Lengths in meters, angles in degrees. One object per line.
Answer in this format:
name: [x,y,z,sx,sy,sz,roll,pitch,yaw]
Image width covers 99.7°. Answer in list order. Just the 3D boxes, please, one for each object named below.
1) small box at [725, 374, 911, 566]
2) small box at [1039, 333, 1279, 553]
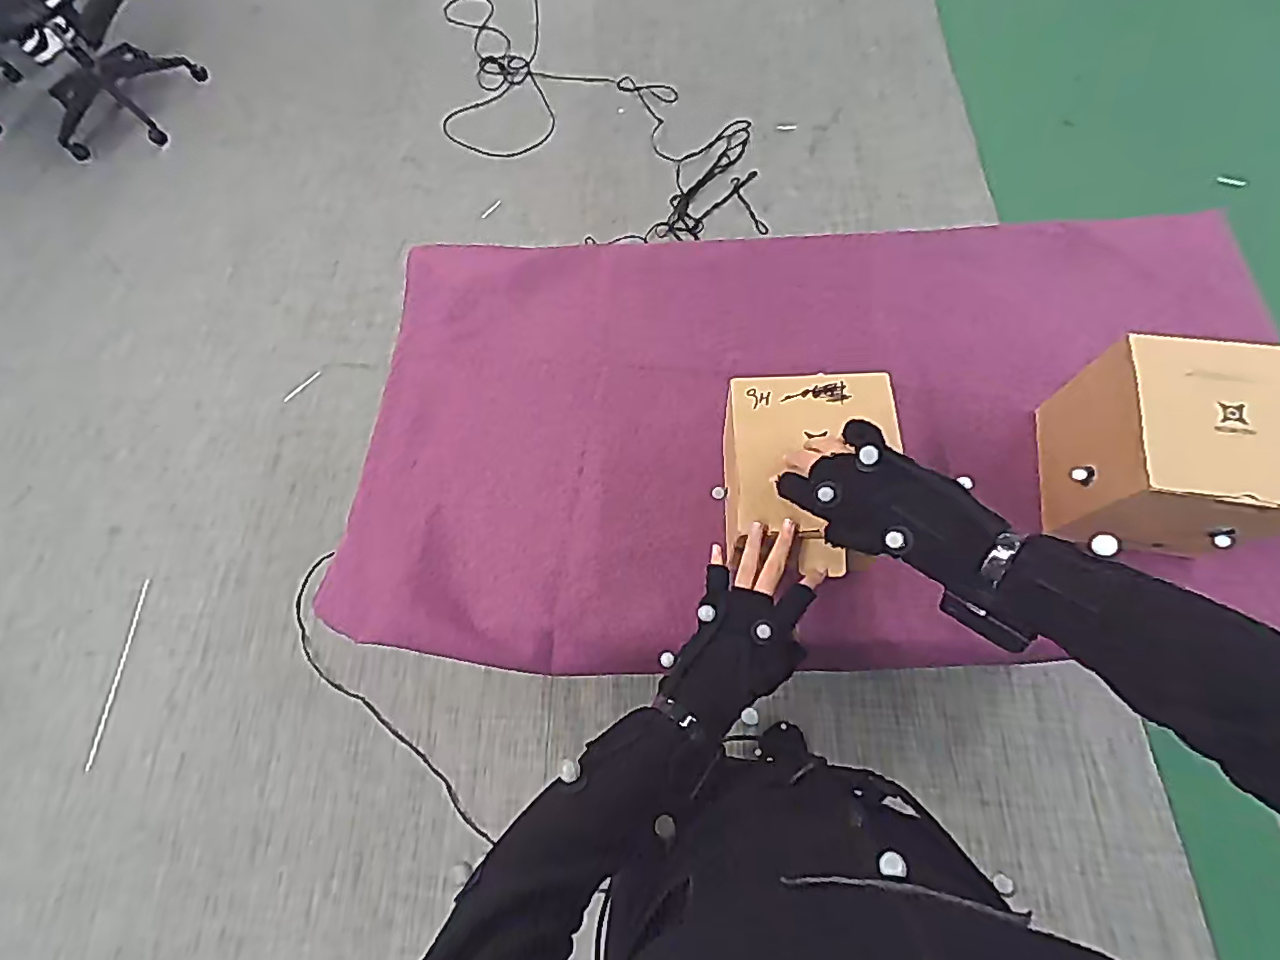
small box: [0.184,0.000,0.616,0.168,0.176,0.179,-1,69,6]
small box: [0.568,-0.031,0.585,0.168,0.176,0.179,9,70,10]
